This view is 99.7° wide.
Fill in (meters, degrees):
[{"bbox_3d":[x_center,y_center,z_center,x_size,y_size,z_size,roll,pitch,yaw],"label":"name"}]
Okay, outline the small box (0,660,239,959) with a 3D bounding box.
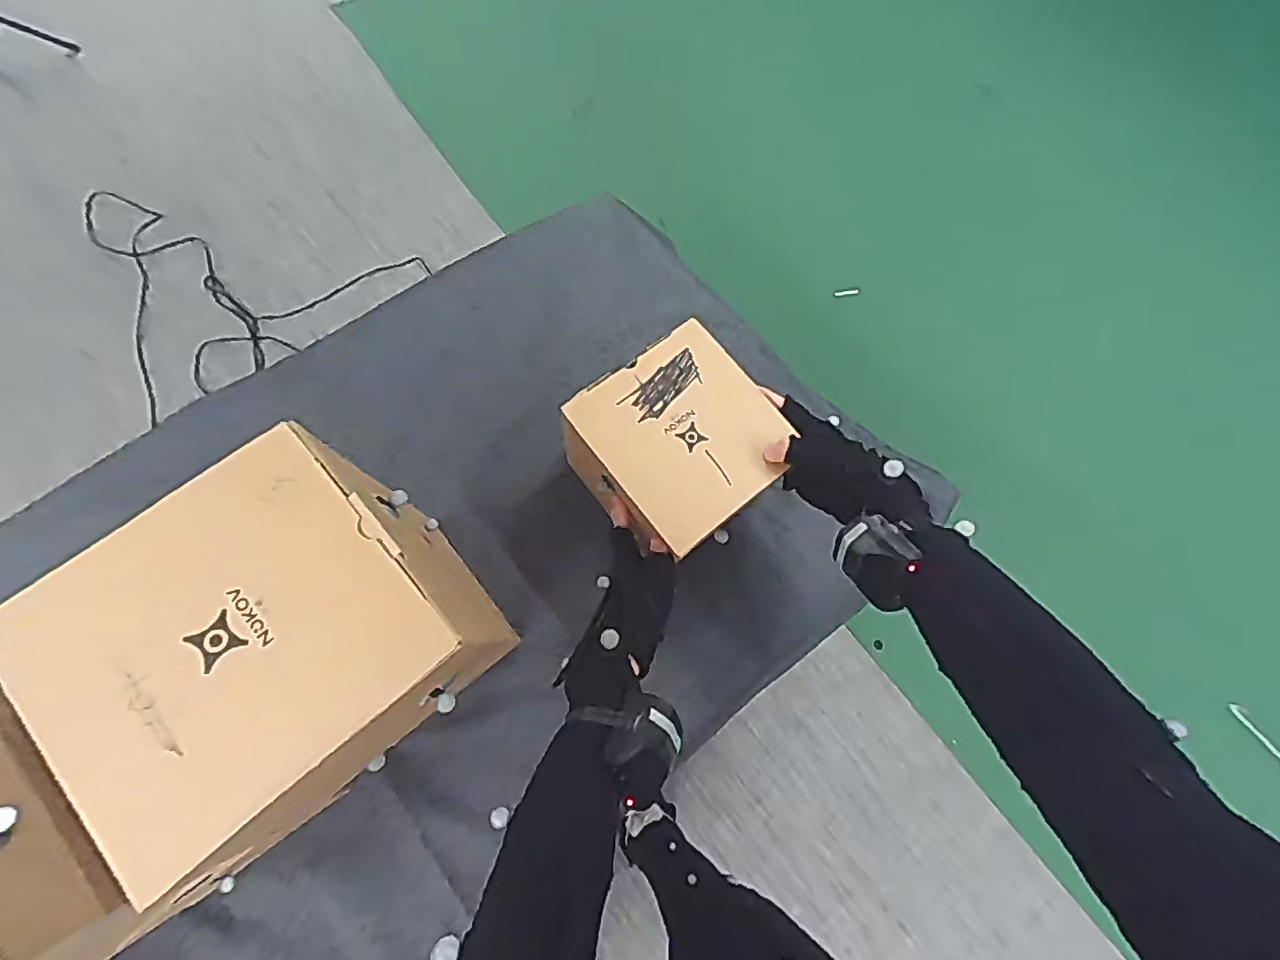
[{"bbox_3d":[-0.390,0.225,0.302,0.179,0.176,0.168,-43,83,-13],"label":"small box"}]
